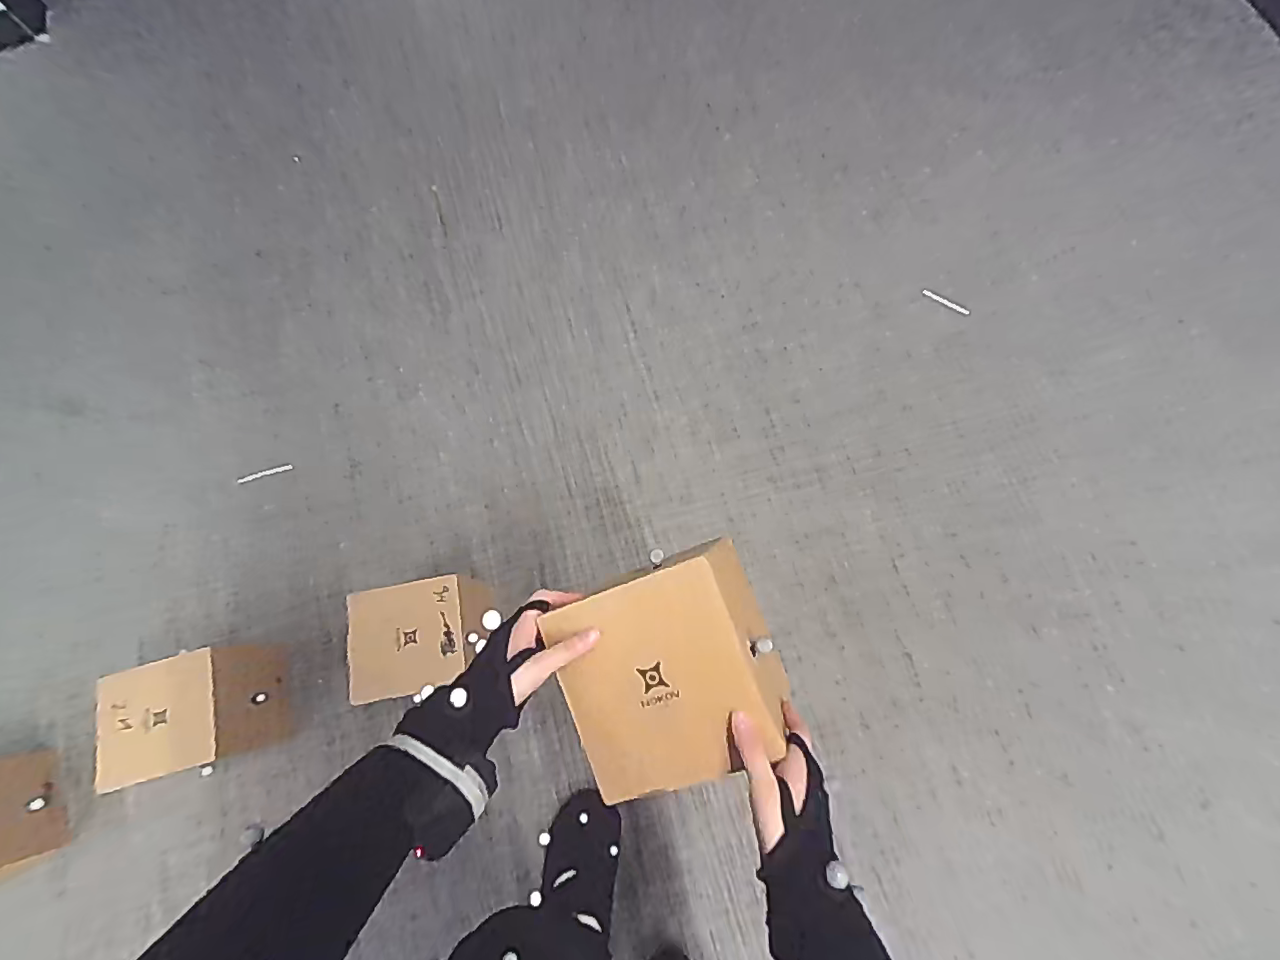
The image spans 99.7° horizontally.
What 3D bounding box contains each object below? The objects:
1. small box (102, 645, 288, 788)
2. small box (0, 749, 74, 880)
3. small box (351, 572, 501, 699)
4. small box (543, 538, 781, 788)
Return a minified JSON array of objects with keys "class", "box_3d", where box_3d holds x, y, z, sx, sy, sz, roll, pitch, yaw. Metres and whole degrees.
[{"class":"small box","box_3d":[-0.703,0.369,0.876,0.179,0.176,0.168,-15,73,-2]},{"class":"small box","box_3d":[-1.057,0.548,0.838,0.179,0.176,0.168,-27,74,-6]},{"class":"small box","box_3d":[-0.346,0.256,0.893,0.179,0.176,0.168,-11,73,0]},{"class":"small box","box_3d":[0.032,0.166,0.548,0.168,0.176,0.179,-23,85,14]}]
